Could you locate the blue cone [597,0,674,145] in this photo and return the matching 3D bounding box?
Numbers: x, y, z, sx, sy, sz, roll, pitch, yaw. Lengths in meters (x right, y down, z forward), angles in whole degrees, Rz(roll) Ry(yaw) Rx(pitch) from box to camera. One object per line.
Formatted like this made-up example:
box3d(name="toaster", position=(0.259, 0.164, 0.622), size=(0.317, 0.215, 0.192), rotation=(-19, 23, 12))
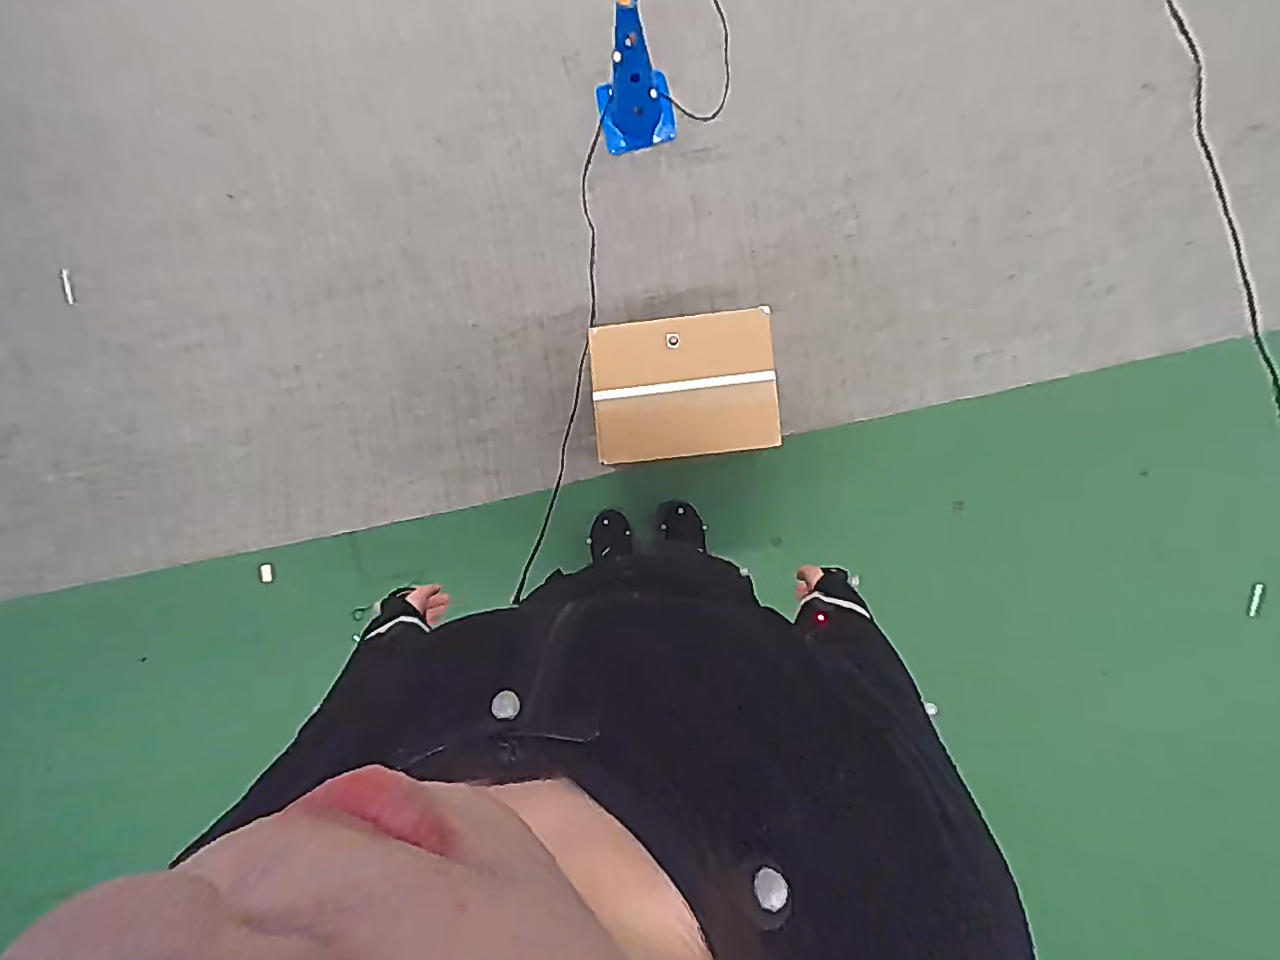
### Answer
box3d(name="blue cone", position=(-0.023, -1.023, 1.316), size=(0.193, 0.380, 0.192), rotation=(-15, 89, 4))
